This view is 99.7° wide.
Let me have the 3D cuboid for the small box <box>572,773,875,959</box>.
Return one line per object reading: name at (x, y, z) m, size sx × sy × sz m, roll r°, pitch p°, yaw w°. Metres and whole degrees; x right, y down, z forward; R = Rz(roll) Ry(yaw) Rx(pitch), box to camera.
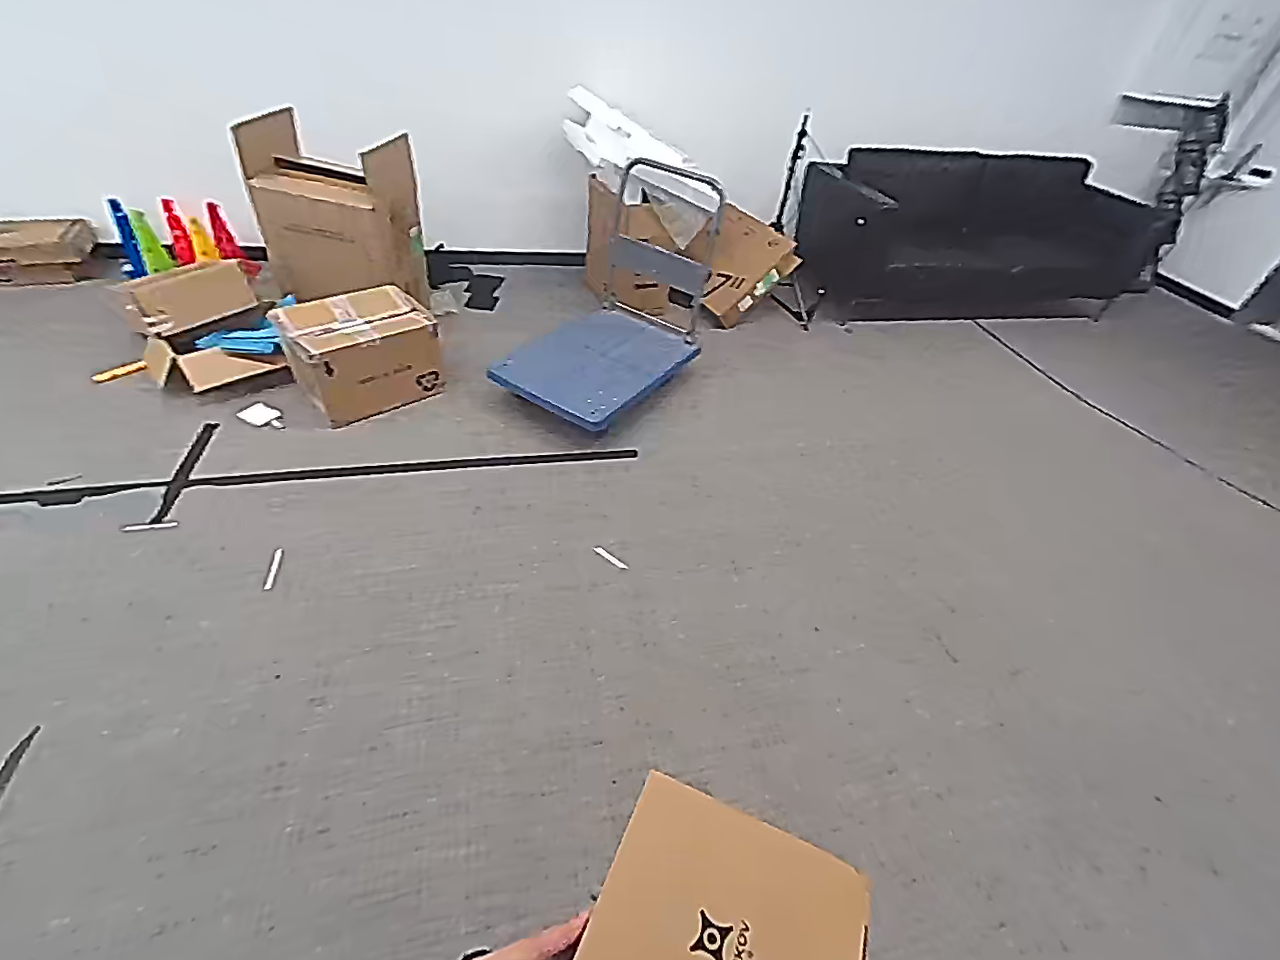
small box at (0.052, 0.365, 0.403) m, size 0.179 × 0.176 × 0.168 m, roll 18°, pitch 44°, yaw 16°
